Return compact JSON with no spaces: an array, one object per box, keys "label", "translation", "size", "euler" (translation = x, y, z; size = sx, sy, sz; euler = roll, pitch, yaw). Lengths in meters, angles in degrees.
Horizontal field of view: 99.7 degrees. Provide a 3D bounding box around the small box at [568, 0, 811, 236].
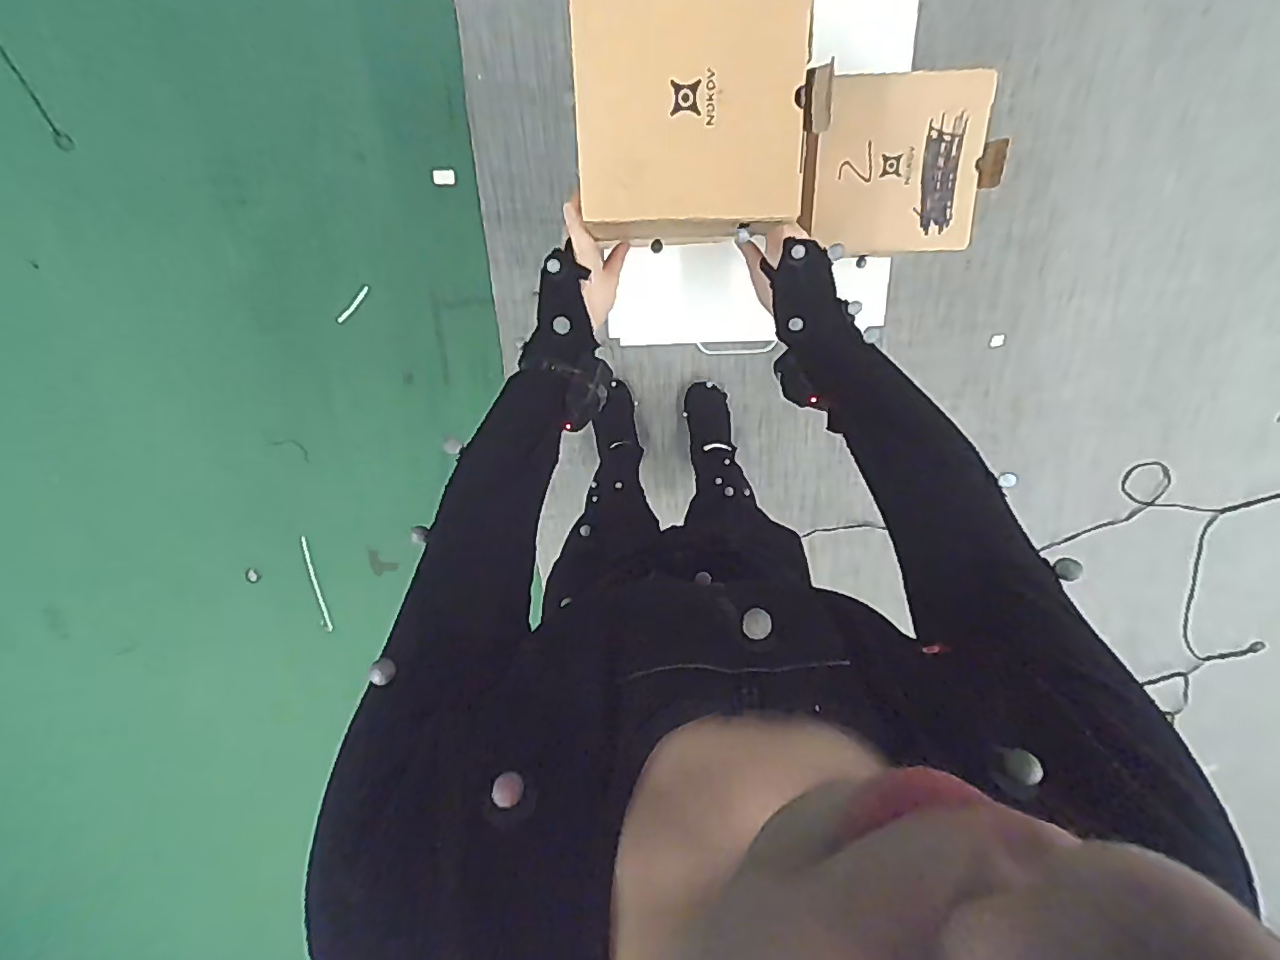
[{"label":"small box","translation":[0.034,-0.314,0.478],"size":[0.179,0.176,0.168],"euler":[-2,109,-3]}]
